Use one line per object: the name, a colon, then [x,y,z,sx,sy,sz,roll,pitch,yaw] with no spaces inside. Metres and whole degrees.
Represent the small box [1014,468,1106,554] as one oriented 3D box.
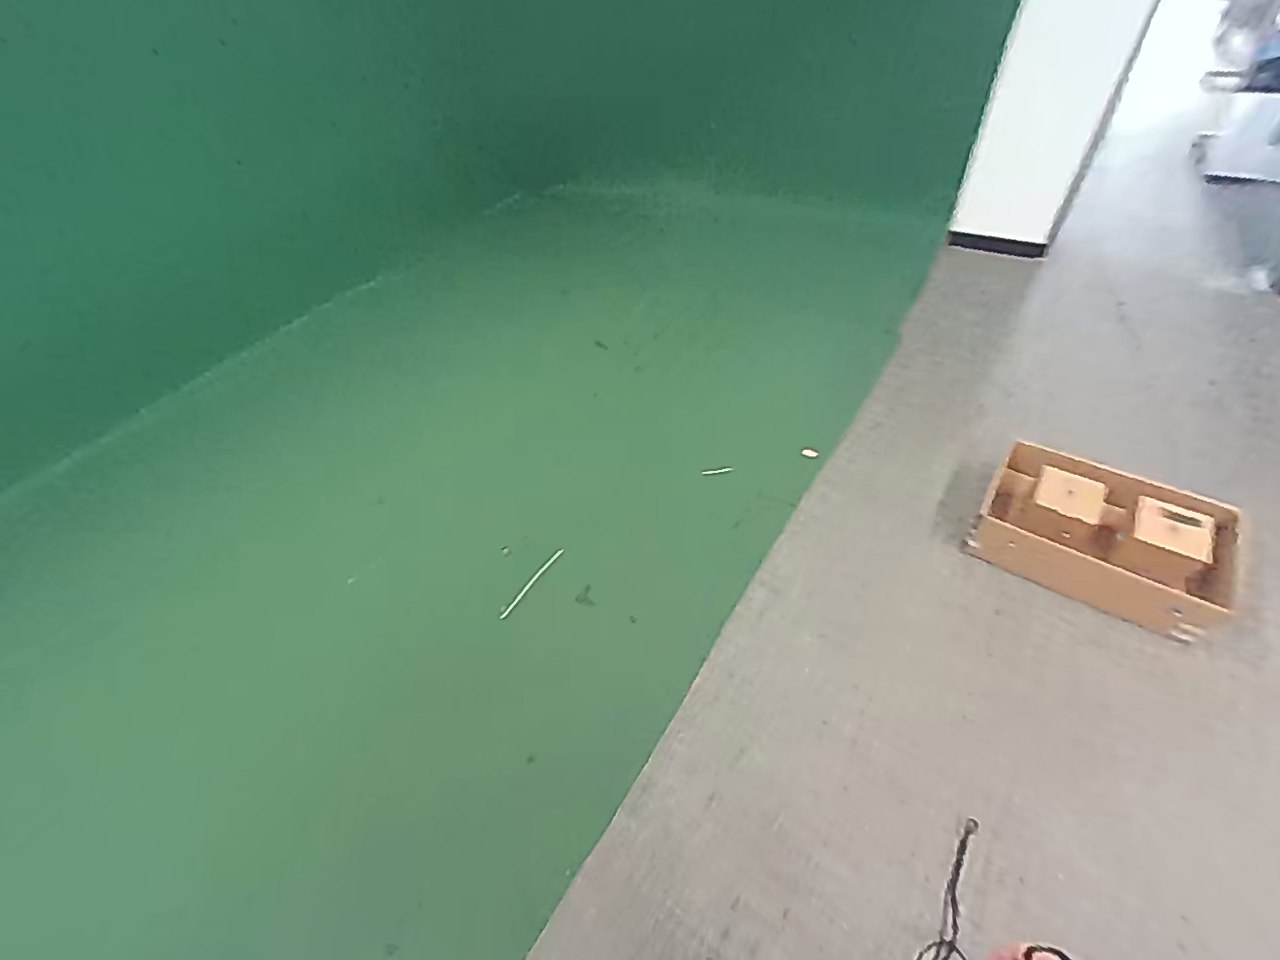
small box: [1.312,0.100,1.698,0.168,0.176,0.179,25,57,25]
